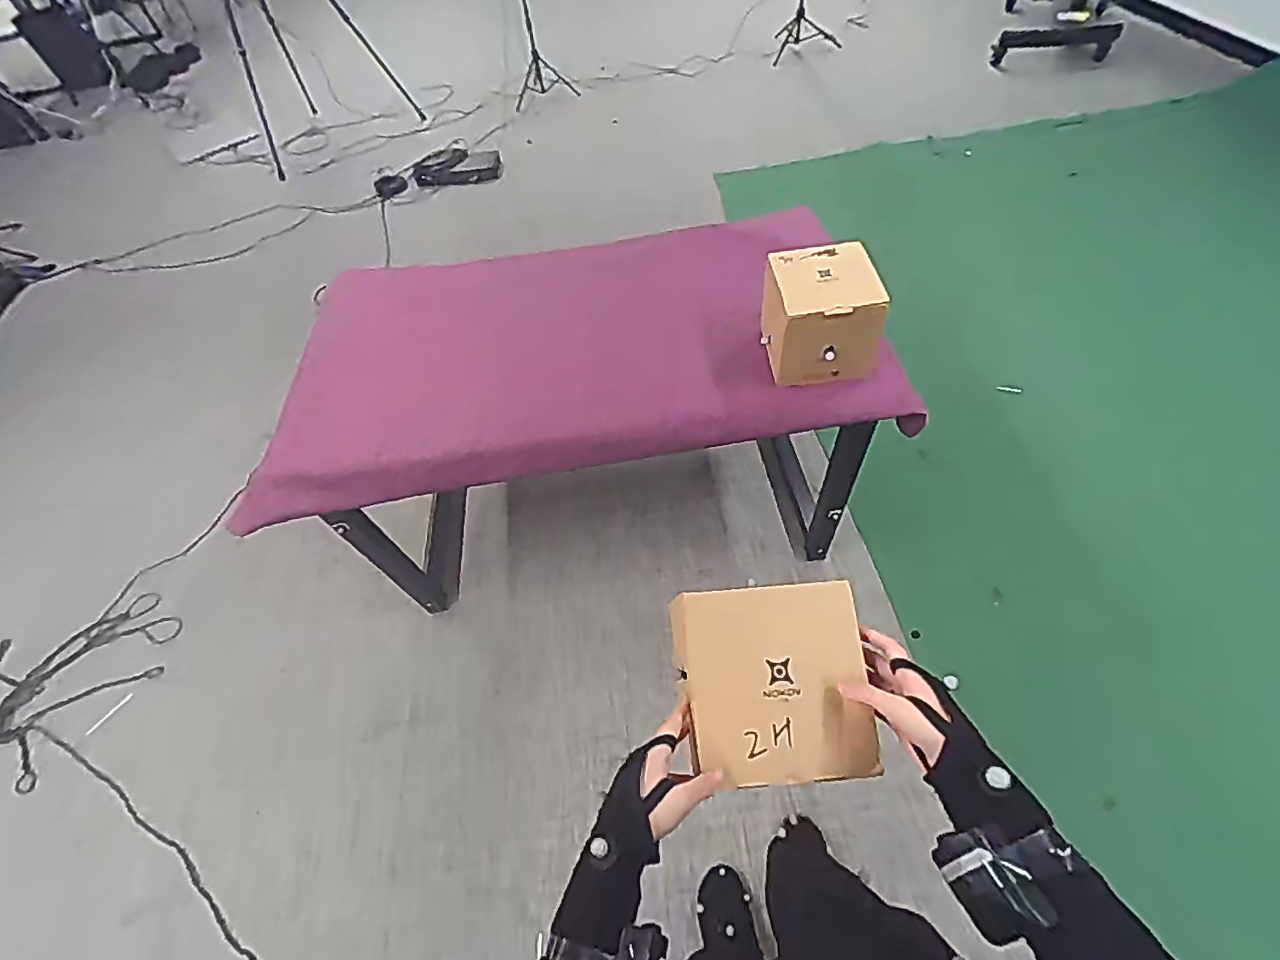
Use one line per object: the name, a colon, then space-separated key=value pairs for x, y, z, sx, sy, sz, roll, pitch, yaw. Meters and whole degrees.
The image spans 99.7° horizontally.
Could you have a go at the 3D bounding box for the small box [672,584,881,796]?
small box: x=0.125 y=0.211 z=0.573 sx=0.168 sy=0.176 sz=0.179 roll=-4 pitch=74 yaw=-1

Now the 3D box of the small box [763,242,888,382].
small box: x=0.320 y=-0.291 z=0.972 sx=0.168 sy=0.176 sz=0.179 roll=-6 pitch=57 yaw=4
